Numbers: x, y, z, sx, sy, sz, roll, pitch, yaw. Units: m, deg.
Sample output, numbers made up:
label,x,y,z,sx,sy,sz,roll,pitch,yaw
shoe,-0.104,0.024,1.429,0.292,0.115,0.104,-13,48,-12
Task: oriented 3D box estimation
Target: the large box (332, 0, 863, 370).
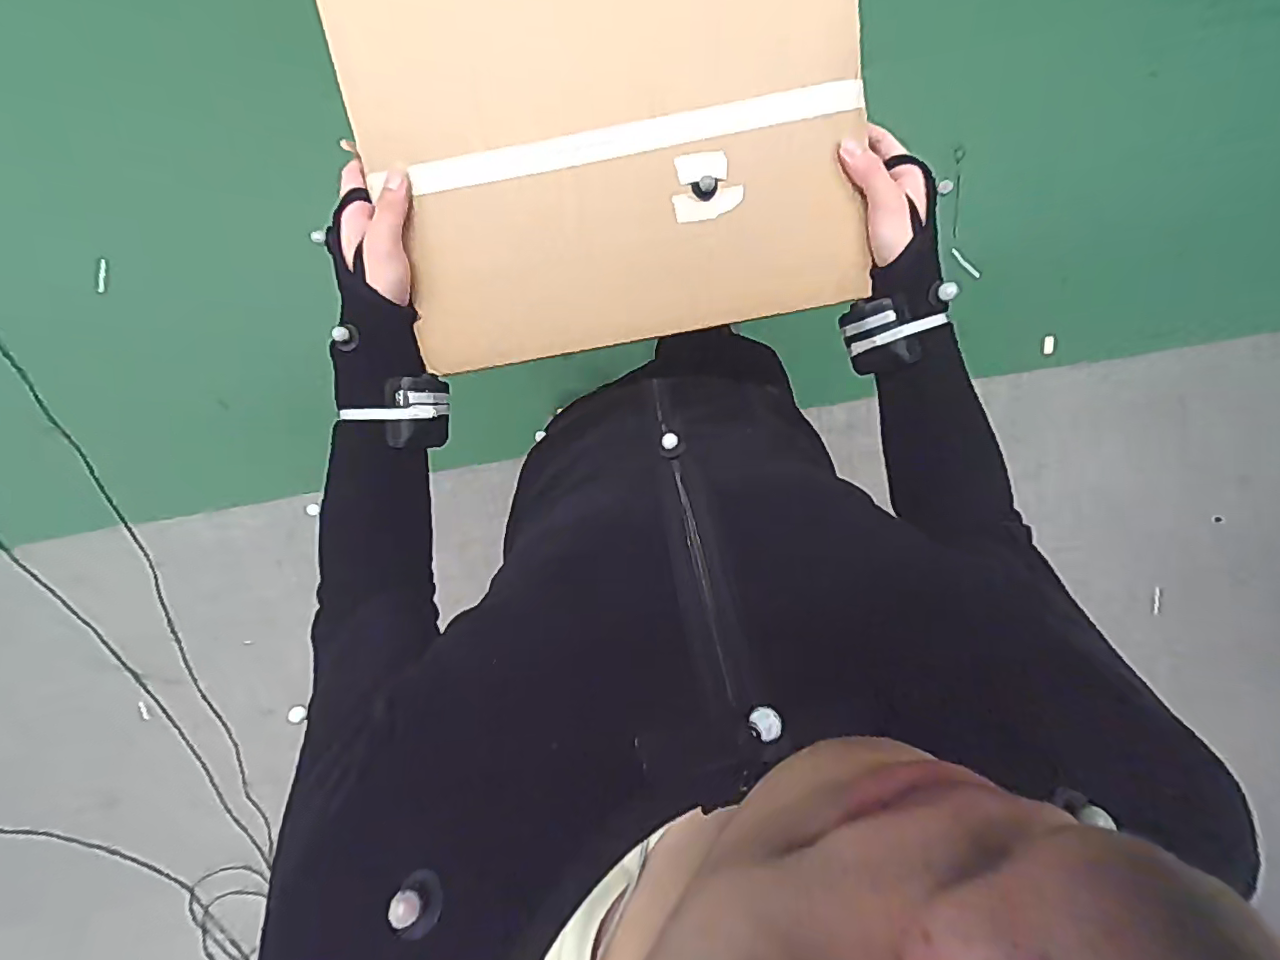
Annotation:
label,x,y,z,sx,sy,sz,roll,pitch,yaw
large box,-0.026,-0.324,0.596,0.408,0.320,0.320,-11,107,0
